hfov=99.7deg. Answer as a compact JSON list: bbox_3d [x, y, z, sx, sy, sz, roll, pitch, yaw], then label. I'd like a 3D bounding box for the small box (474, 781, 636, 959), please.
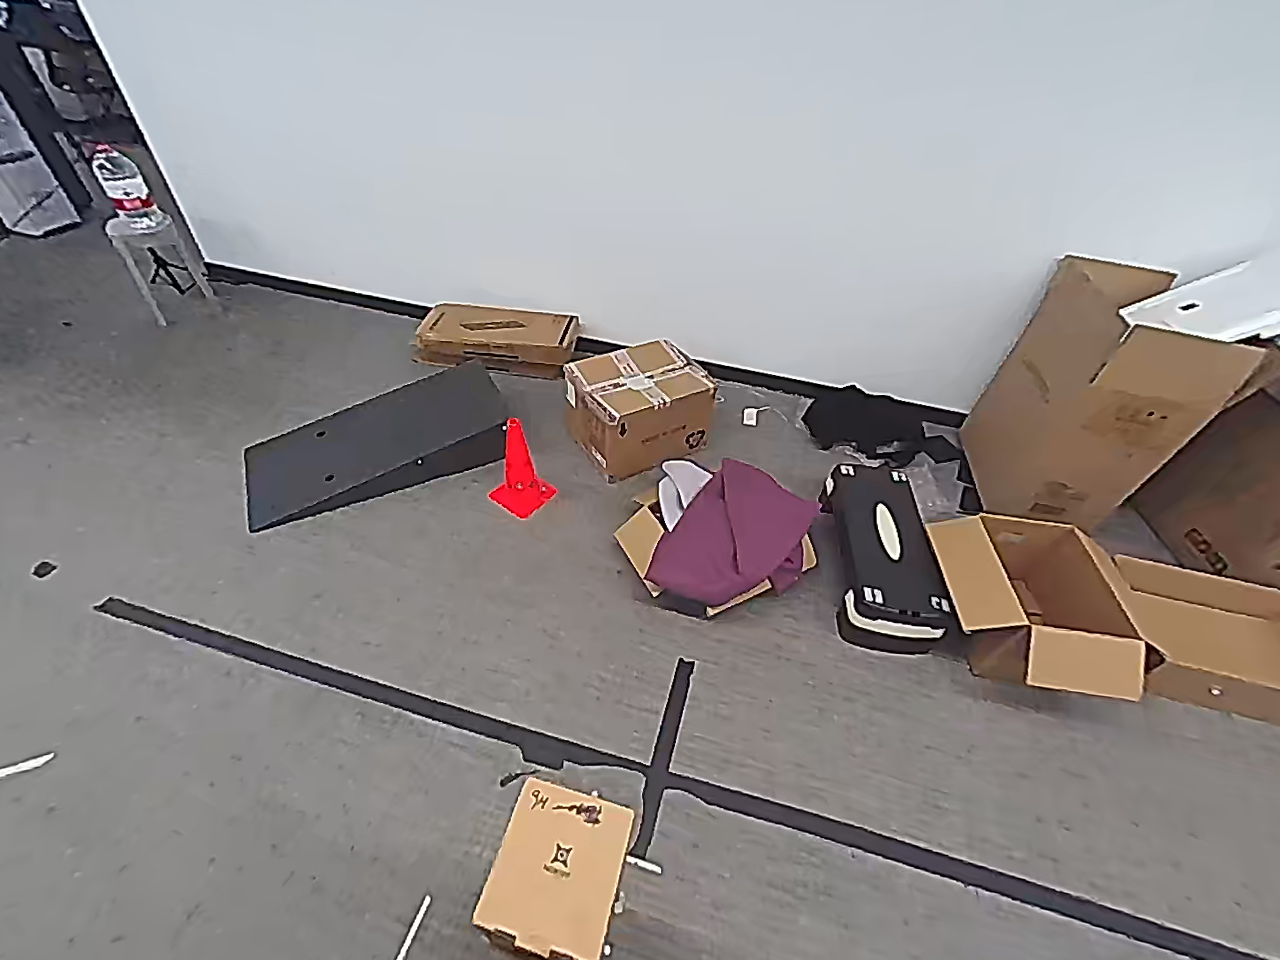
[{"bbox_3d":[-0.107,0.566,0.764,0.168,0.176,0.179,13,45,9],"label":"small box"}]
